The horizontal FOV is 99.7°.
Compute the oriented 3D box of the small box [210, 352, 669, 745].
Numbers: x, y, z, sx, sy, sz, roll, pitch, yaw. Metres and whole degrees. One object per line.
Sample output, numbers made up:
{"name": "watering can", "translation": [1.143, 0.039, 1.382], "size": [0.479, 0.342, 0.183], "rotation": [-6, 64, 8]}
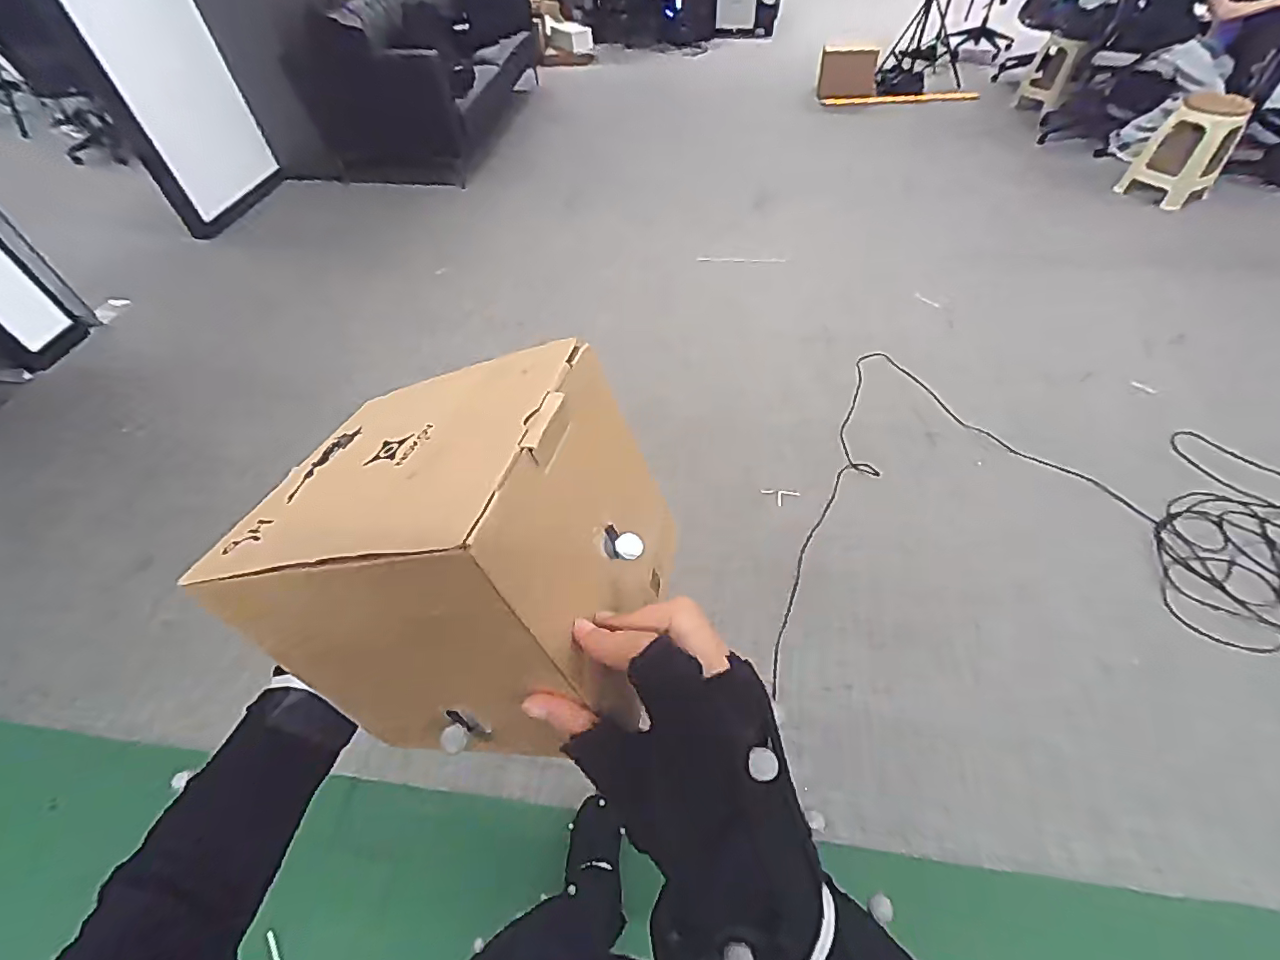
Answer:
{"name": "small box", "translation": [-0.094, 0.048, 0.343], "size": [0.179, 0.176, 0.168], "rotation": [-9, 36, 22]}
